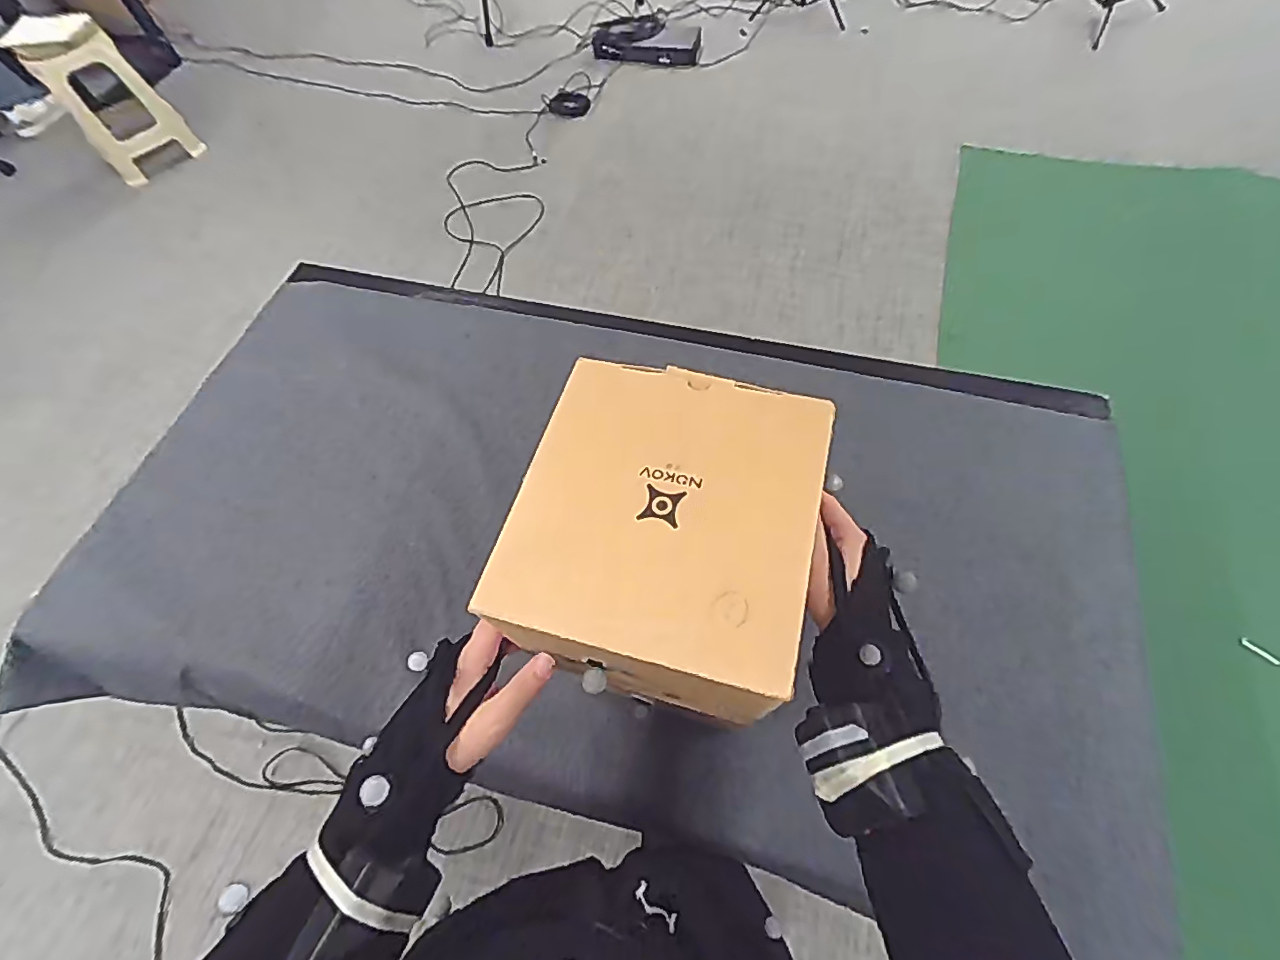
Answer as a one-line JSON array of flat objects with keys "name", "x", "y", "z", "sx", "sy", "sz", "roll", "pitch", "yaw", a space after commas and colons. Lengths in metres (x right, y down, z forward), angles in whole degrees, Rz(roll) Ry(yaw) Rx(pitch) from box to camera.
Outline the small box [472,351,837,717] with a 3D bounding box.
[{"name": "small box", "x": 0.022, "y": 0.045, "z": 0.363, "sx": 0.168, "sy": 0.176, "sz": 0.179, "roll": 12, "pitch": 63, "yaw": 12}]
